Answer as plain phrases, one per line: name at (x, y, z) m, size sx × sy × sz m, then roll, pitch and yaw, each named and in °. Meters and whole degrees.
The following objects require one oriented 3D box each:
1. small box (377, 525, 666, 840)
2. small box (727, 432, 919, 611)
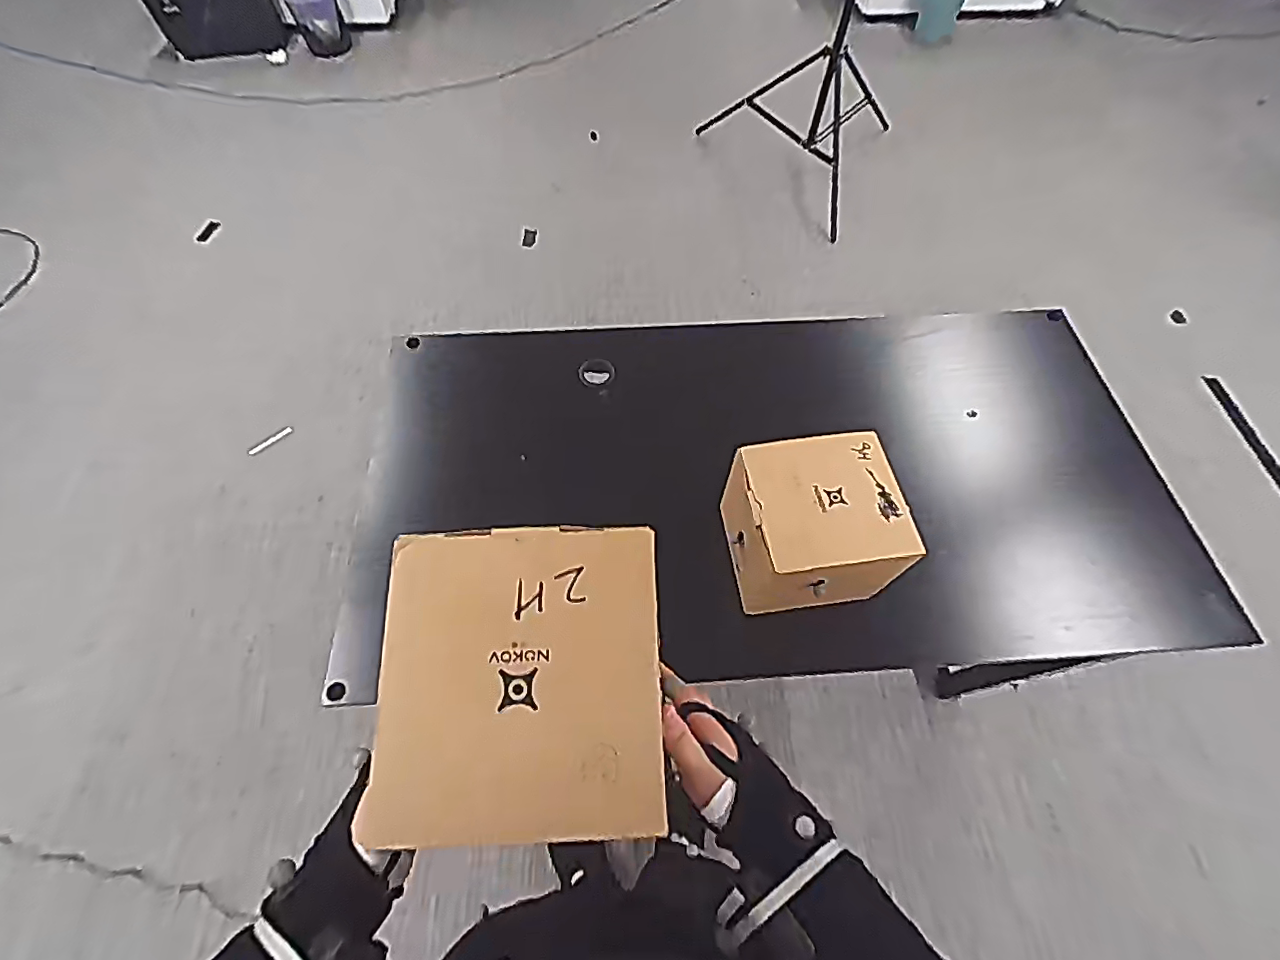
small box at (-0.068, 0.140, 0.401) m, size 0.168 × 0.176 × 0.179 m, roll -2°, pitch 70°, yaw -2°
small box at (0.215, 0.060, 0.699) m, size 0.179 × 0.176 × 0.168 m, roll -8°, pitch 61°, yaw -3°
